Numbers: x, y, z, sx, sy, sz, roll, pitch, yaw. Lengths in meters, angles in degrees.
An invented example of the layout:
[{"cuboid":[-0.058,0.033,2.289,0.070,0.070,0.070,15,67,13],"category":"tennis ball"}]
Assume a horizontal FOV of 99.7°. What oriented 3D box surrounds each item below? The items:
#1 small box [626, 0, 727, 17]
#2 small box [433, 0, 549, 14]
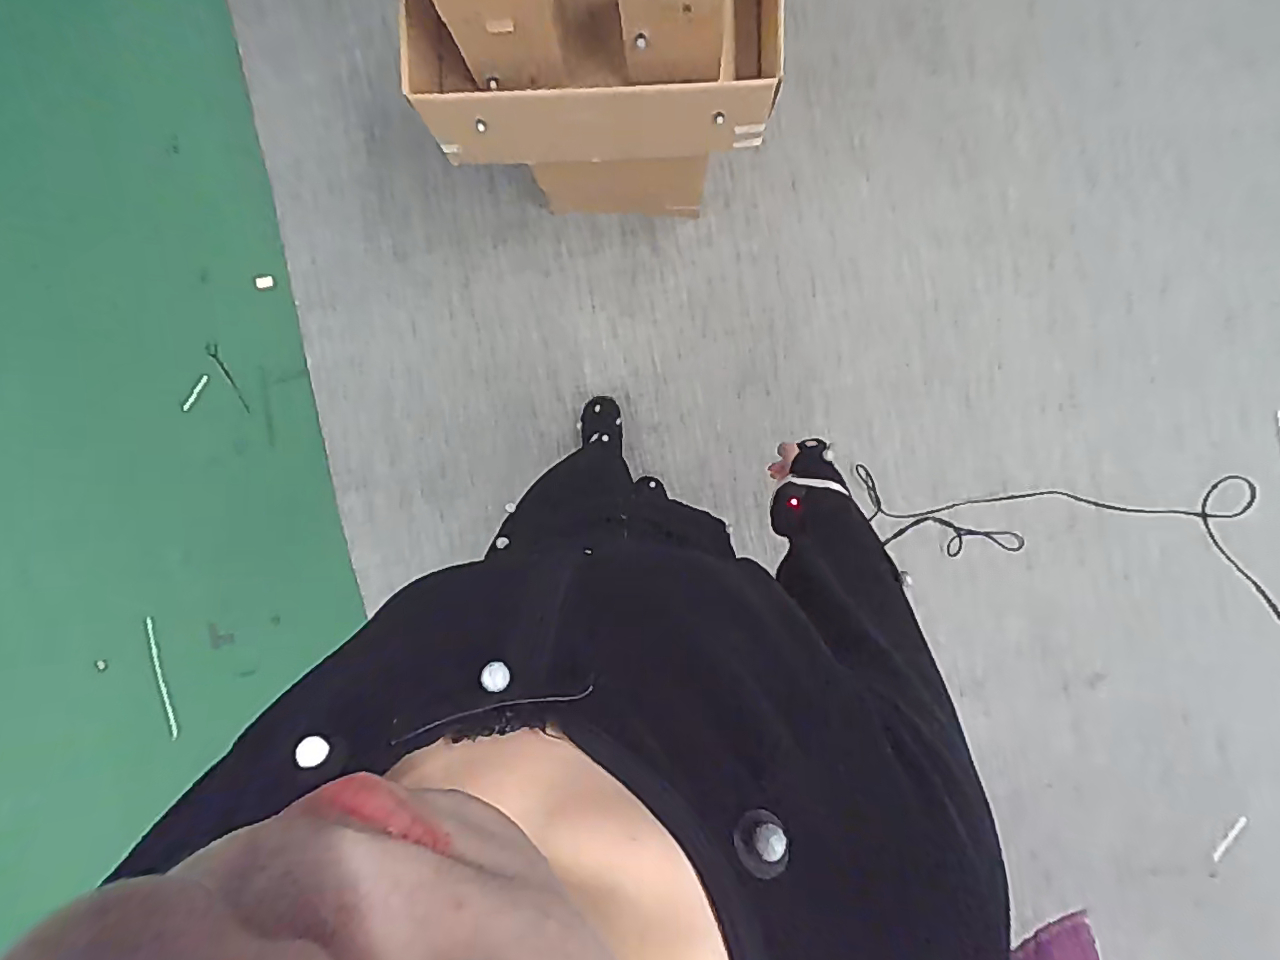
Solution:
[{"cuboid":[0.052,-0.781,0.733,0.168,0.176,0.179,6,94,2],"category":"small box"},{"cuboid":[-0.230,-0.790,0.745,0.179,0.176,0.168,-2,93,1],"category":"small box"}]
